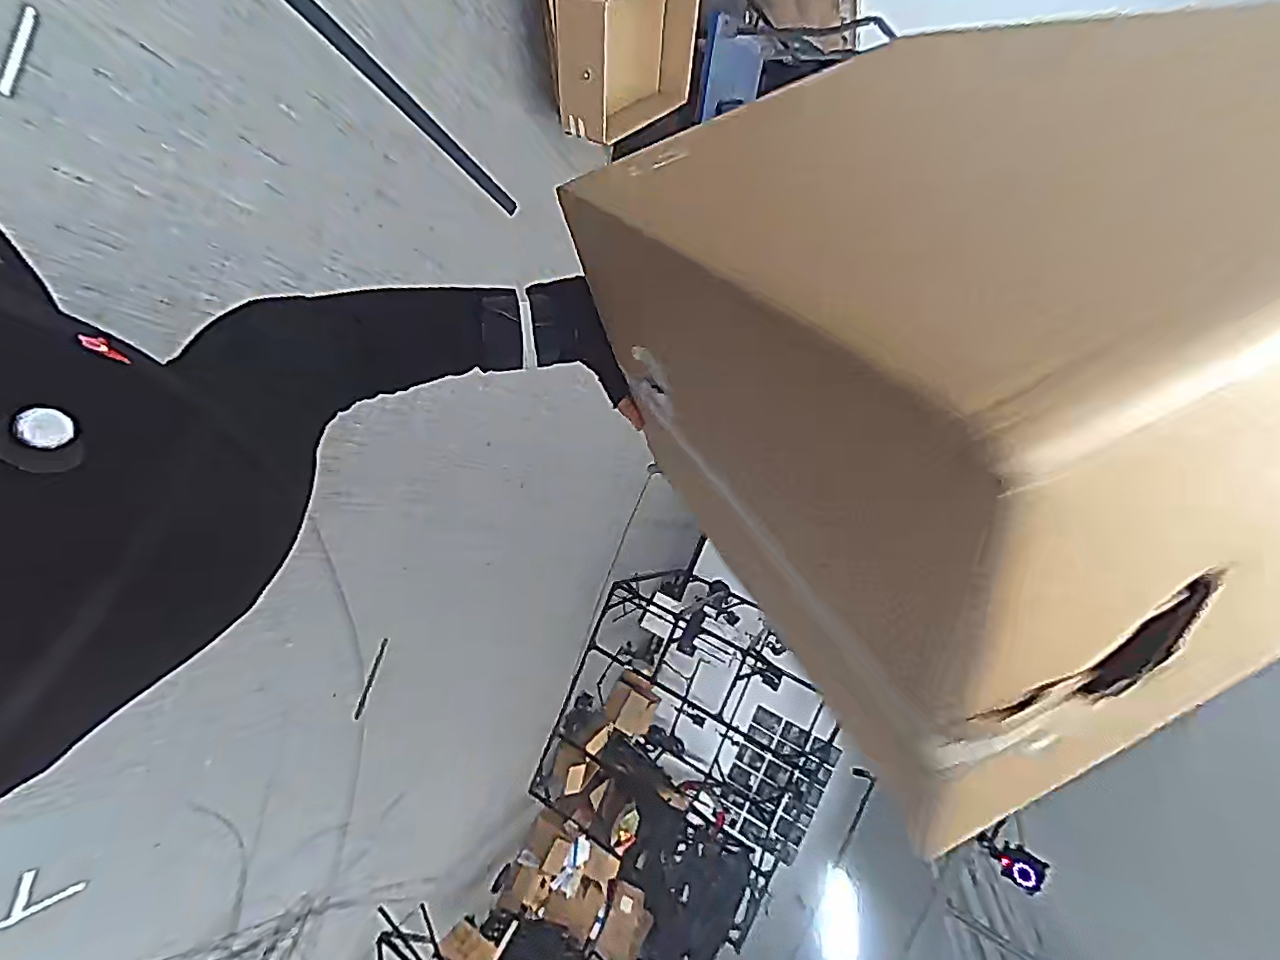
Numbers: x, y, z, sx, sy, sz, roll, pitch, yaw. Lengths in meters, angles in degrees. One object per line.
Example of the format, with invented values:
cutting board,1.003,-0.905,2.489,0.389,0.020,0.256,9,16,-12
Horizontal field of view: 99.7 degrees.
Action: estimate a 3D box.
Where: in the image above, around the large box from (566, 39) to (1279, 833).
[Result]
large box,0.179,-0.068,0.384,0.320,0.408,0.320,-24,130,-4
